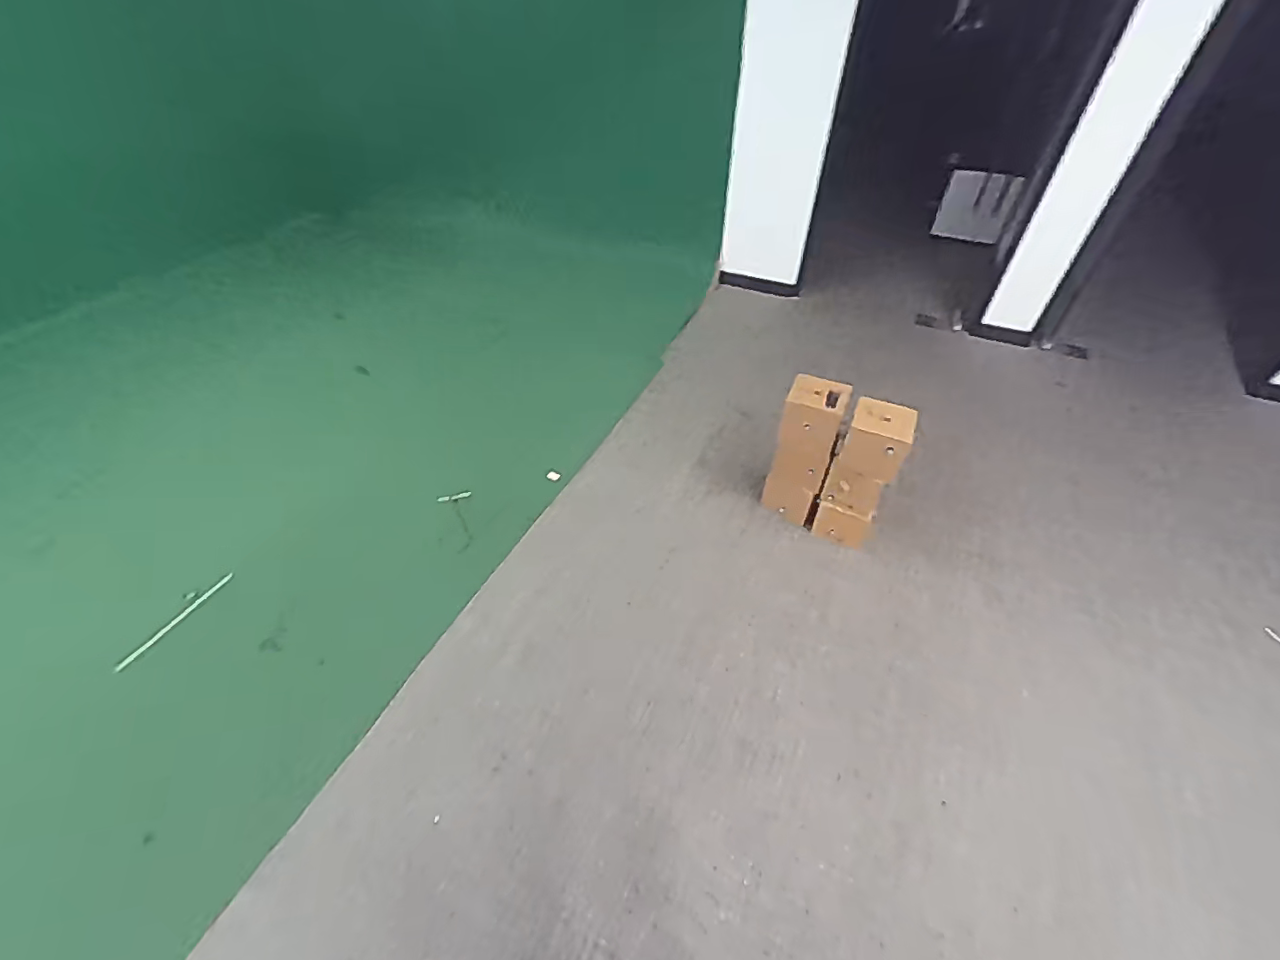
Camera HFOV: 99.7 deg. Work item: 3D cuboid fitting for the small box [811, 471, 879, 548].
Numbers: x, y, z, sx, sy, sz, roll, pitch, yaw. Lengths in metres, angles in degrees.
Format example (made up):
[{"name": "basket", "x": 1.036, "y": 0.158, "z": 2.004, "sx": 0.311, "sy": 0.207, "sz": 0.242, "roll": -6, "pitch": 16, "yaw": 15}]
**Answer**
[{"name": "small box", "x": 0.714, "y": 0.104, "z": 1.893, "sx": 0.168, "sy": 0.176, "sz": 0.179, "roll": 19, "pitch": 50, "yaw": 18}]
